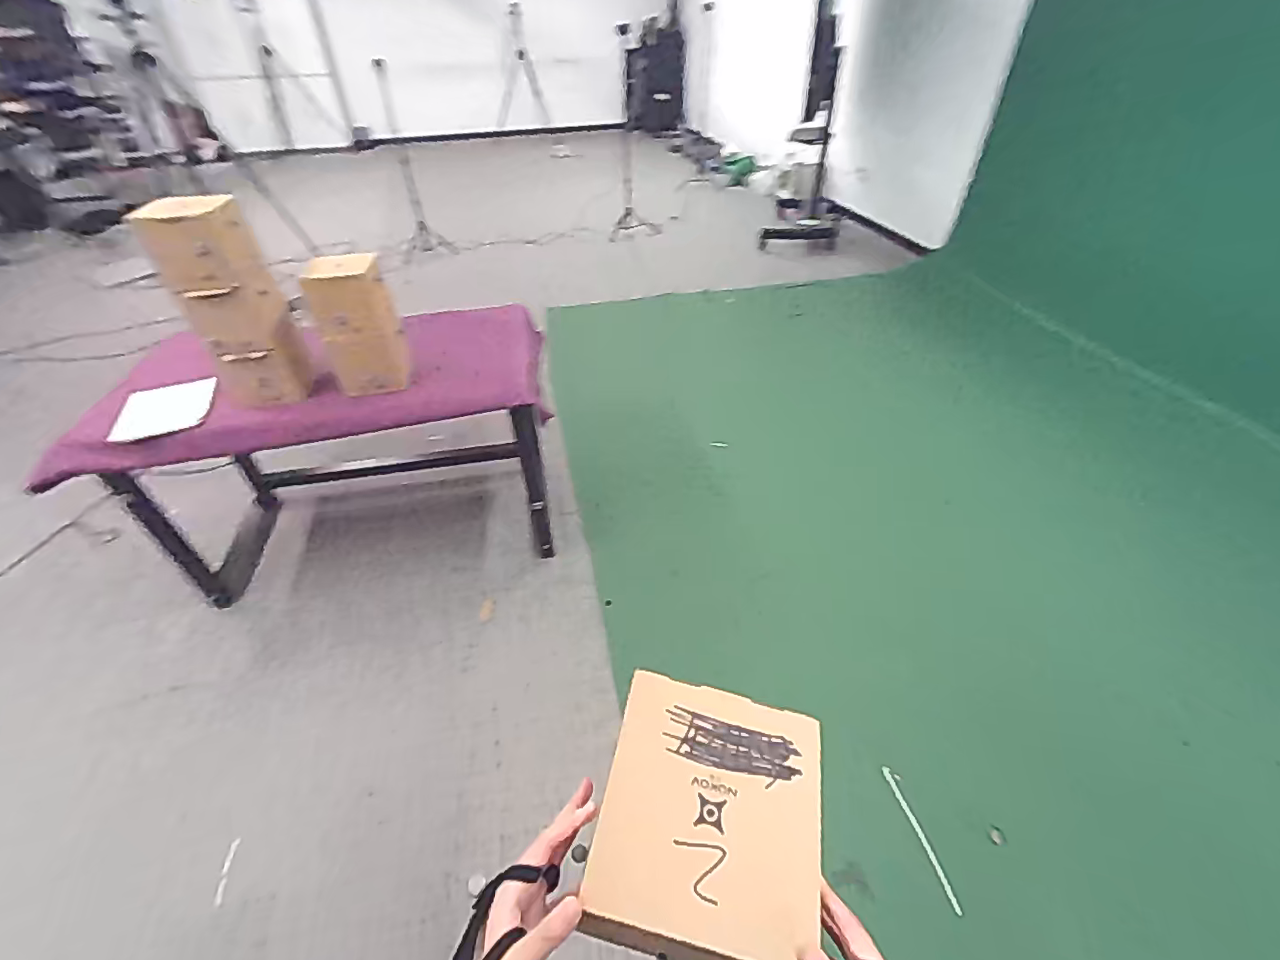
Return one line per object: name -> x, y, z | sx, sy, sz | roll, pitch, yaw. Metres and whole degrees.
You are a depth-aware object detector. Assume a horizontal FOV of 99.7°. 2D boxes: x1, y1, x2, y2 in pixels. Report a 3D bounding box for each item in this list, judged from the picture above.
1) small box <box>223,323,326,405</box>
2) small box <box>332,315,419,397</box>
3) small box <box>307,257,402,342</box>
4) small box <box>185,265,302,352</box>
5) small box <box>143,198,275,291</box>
small box -> -1.023, -0.325, 1.533 | 0.168, 0.176, 0.179 | -7, 41, -7
small box -> -0.752, -0.360, 1.561 | 0.168, 0.176, 0.179 | -8, 40, -6
small box -> -0.759, -0.488, 1.462 | 0.168, 0.176, 0.179 | -7, 40, -7
small box -> -1.026, -0.446, 1.421 | 0.168, 0.176, 0.179 | -7, 40, -7
small box -> -1.028, -0.568, 1.312 | 0.168, 0.176, 0.179 | -6, 40, -7
